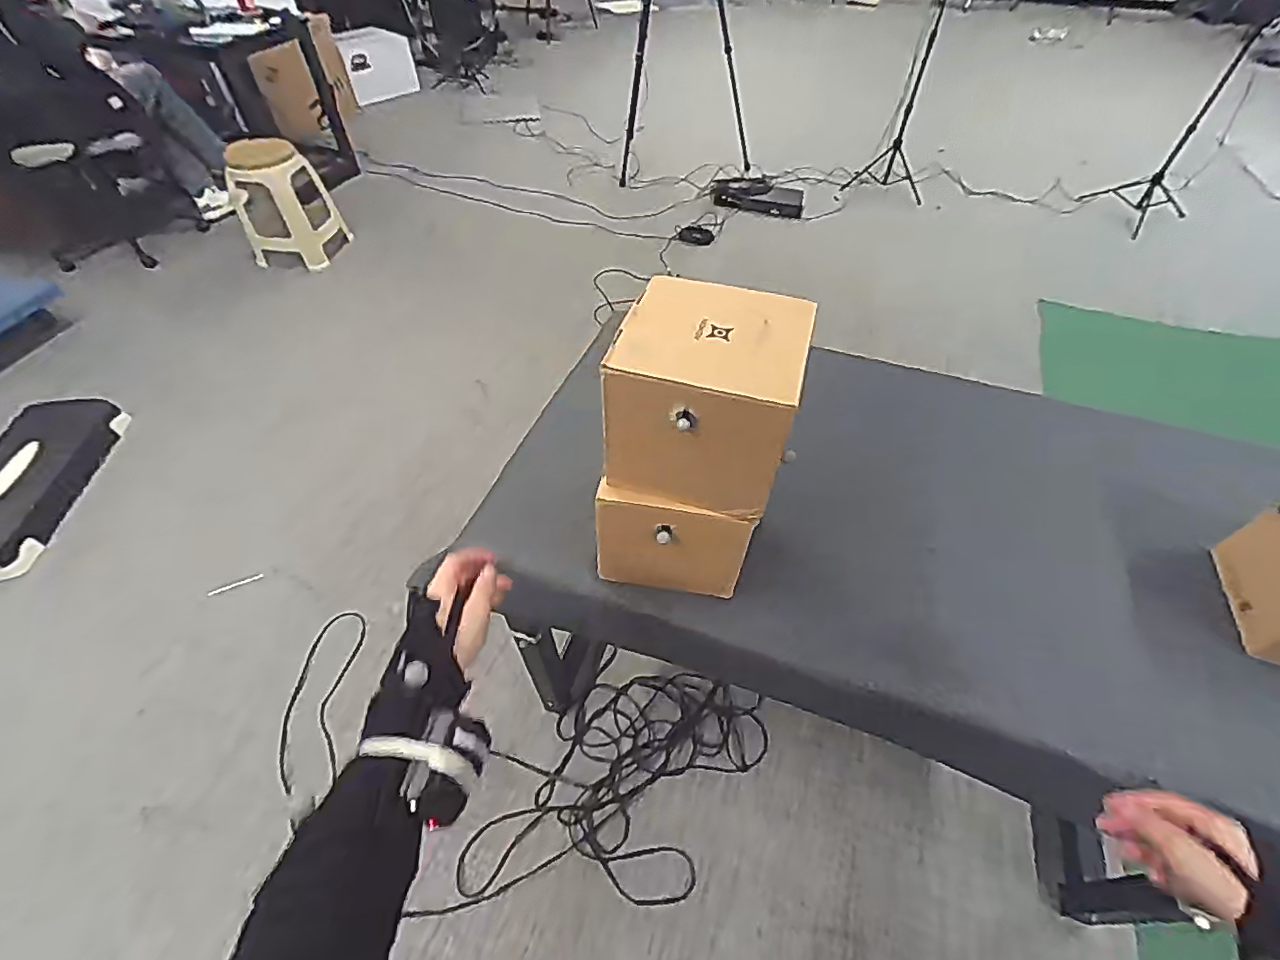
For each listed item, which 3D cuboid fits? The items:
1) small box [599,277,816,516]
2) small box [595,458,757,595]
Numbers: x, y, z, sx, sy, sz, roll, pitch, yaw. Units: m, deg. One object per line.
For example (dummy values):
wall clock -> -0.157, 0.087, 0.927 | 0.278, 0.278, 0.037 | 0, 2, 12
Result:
small box -> 0.069, -0.084, 0.567 | 0.179, 0.176, 0.168 | 15, 52, 11
small box -> 0.049, 0.028, 0.685 | 0.179, 0.176, 0.168 | 8, 49, 6
